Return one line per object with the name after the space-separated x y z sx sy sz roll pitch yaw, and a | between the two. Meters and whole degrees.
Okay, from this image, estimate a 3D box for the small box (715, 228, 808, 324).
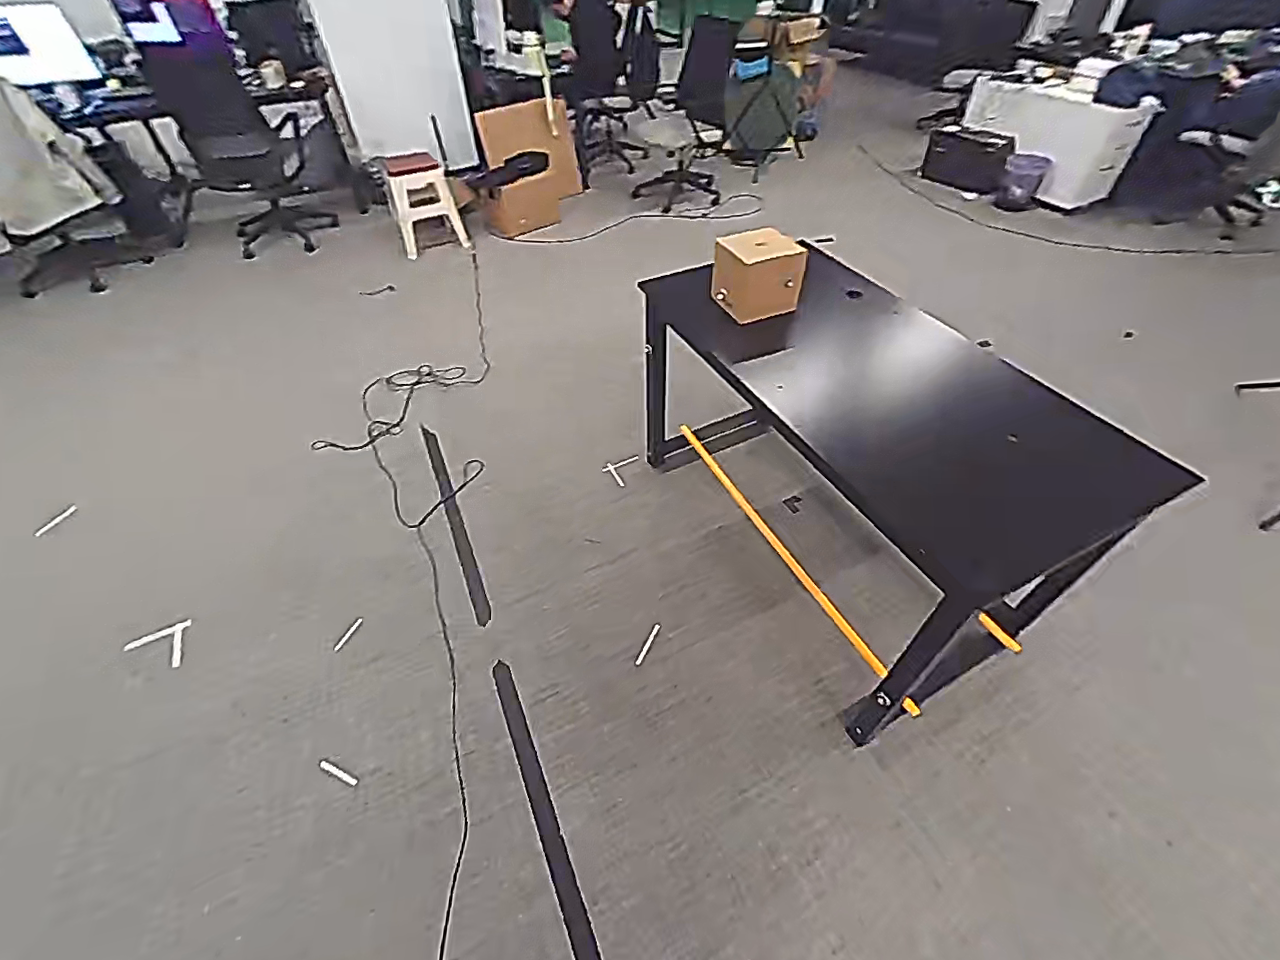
0.312 -0.538 1.430 0.179 0.176 0.168 -19 49 -15 | small box
